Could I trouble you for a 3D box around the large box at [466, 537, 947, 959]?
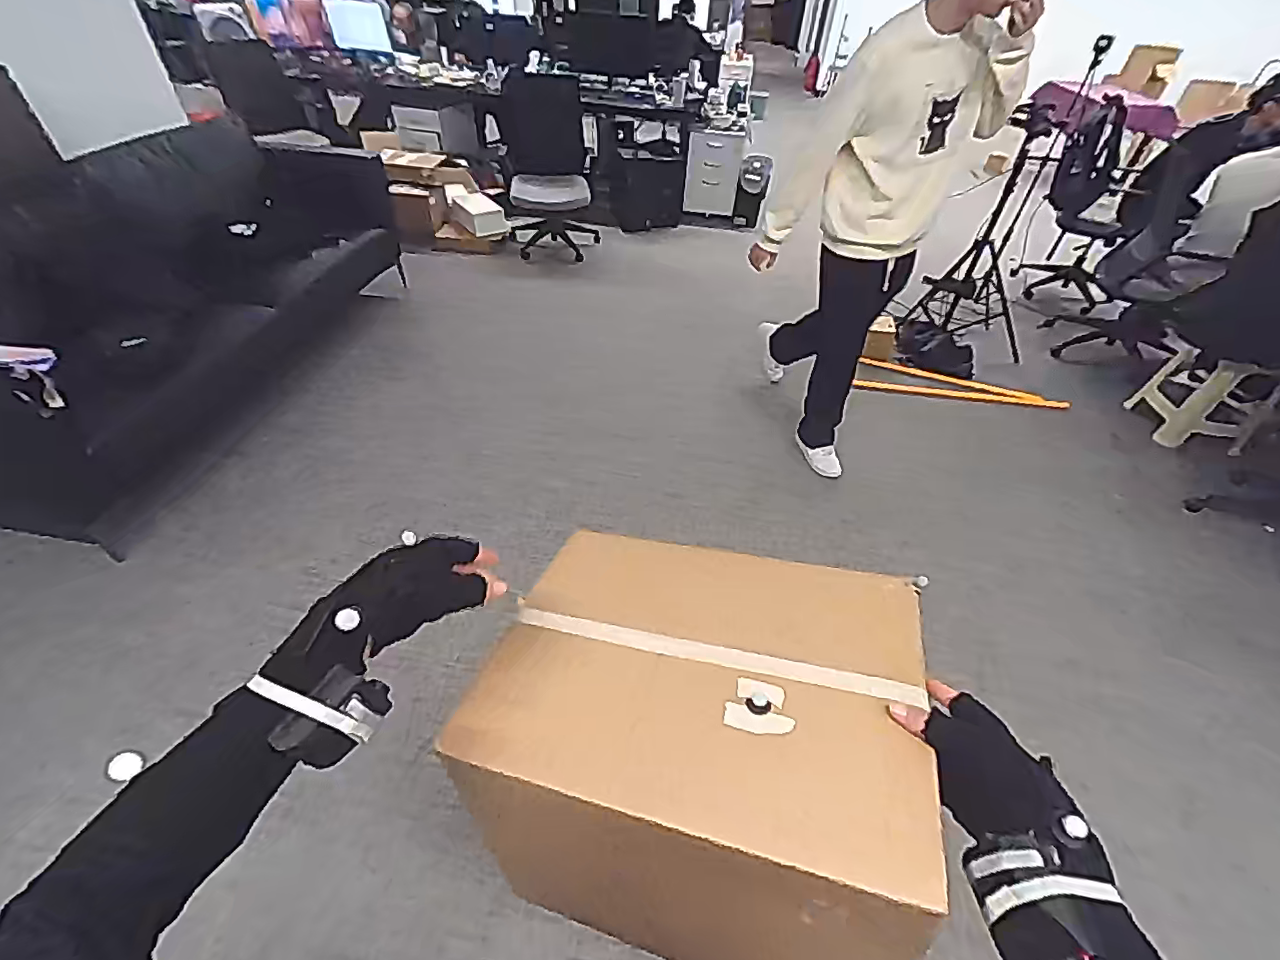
[{"bbox_3d":[0.086,0.300,0.626,0.408,0.320,0.320,6,36,20],"label":"large box"}]
